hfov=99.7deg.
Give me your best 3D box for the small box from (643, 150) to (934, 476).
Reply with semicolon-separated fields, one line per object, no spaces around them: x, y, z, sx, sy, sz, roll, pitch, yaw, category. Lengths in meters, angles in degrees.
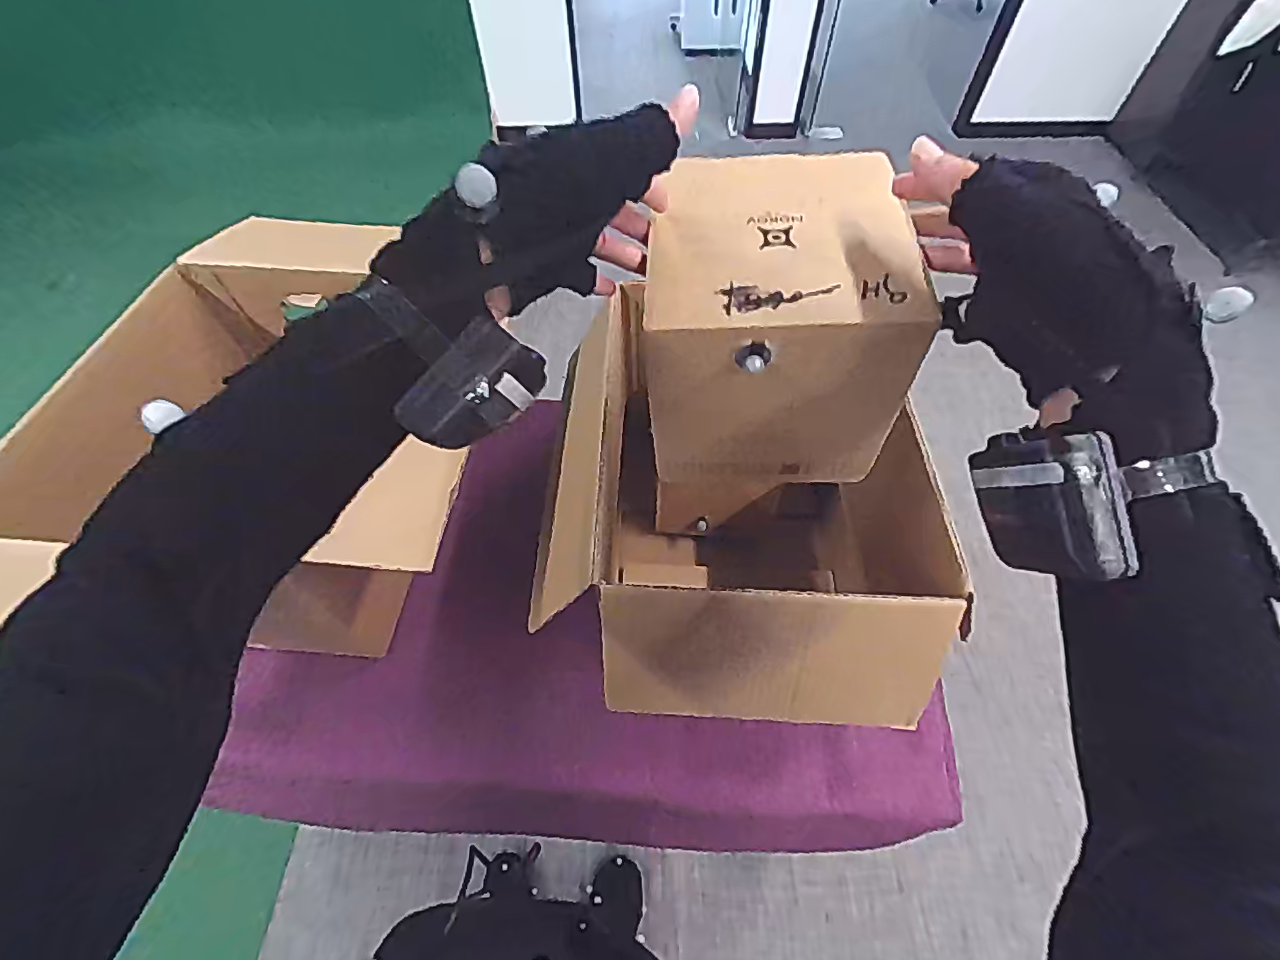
0.095;-0.121;0.418;0.168;0.176;0.179;0;58;7;small box
